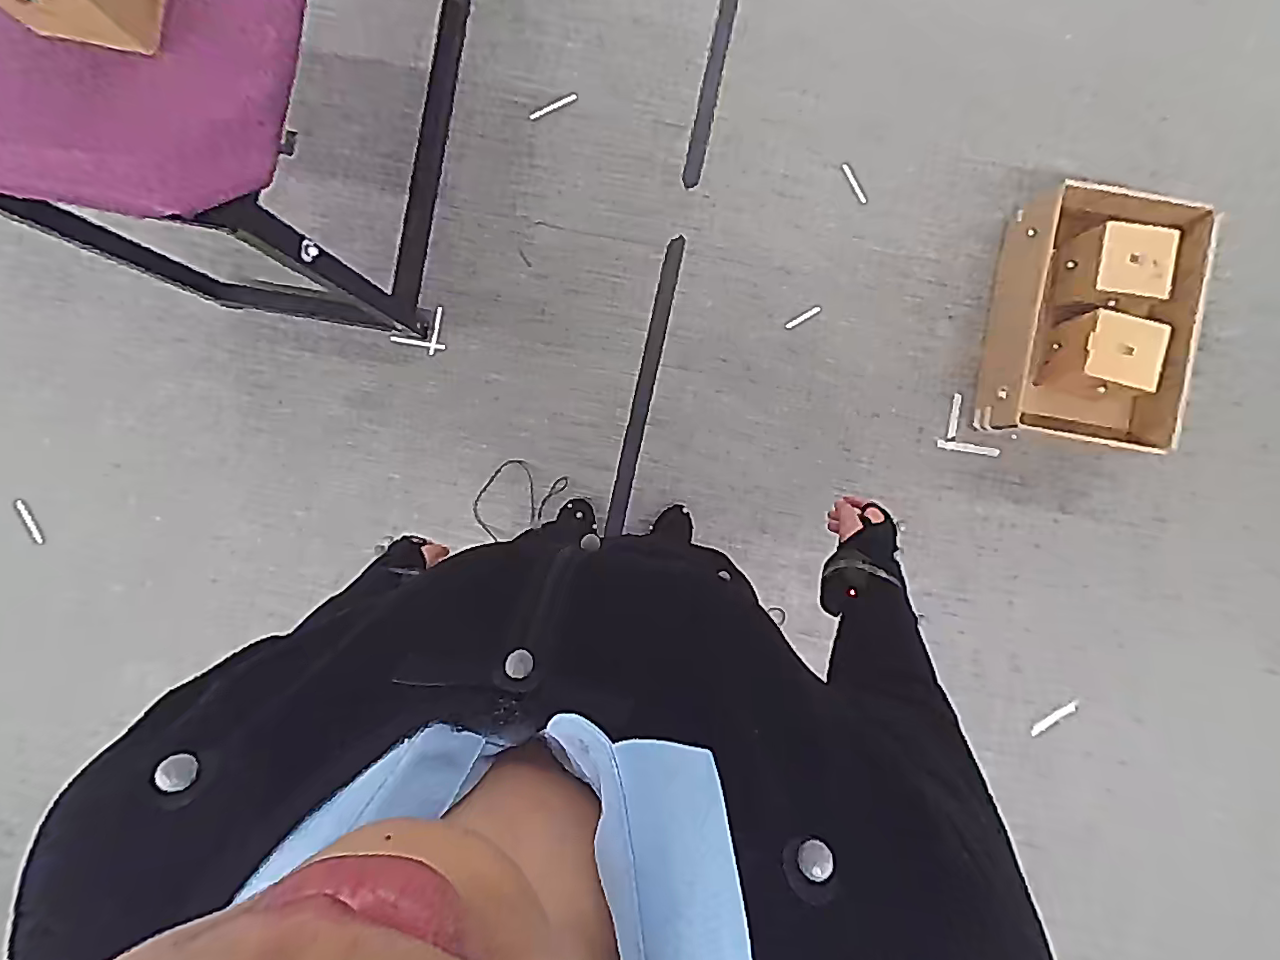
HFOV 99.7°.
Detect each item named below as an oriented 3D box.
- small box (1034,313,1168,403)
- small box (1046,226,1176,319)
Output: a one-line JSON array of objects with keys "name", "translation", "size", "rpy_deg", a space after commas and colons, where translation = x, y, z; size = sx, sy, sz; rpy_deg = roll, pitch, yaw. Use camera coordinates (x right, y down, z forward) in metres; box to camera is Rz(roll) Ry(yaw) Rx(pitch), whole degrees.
[{"name": "small box", "translation": [1.163, -0.300, 1.376], "size": [0.179, 0.176, 0.168], "rpy_deg": [16, 90, 0]}, {"name": "small box", "translation": [1.184, -0.517, 1.372], "size": [0.179, 0.176, 0.168], "rpy_deg": [9, 92, 0]}]
